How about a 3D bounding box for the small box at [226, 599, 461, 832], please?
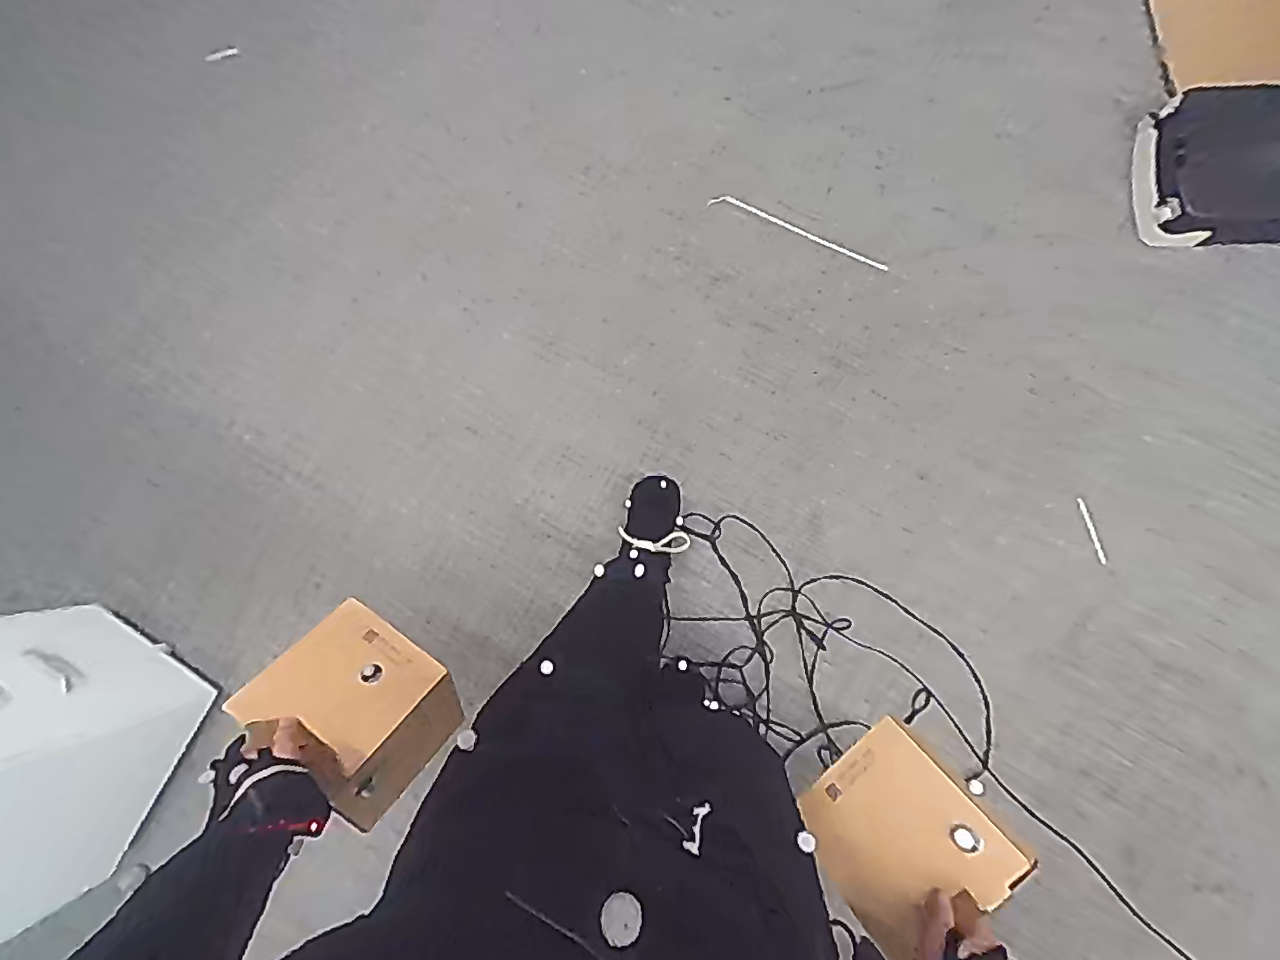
[{"bbox_3d":[-0.340,0.283,0.662,0.168,0.179,0.176,30,50,16],"label":"small box"}]
